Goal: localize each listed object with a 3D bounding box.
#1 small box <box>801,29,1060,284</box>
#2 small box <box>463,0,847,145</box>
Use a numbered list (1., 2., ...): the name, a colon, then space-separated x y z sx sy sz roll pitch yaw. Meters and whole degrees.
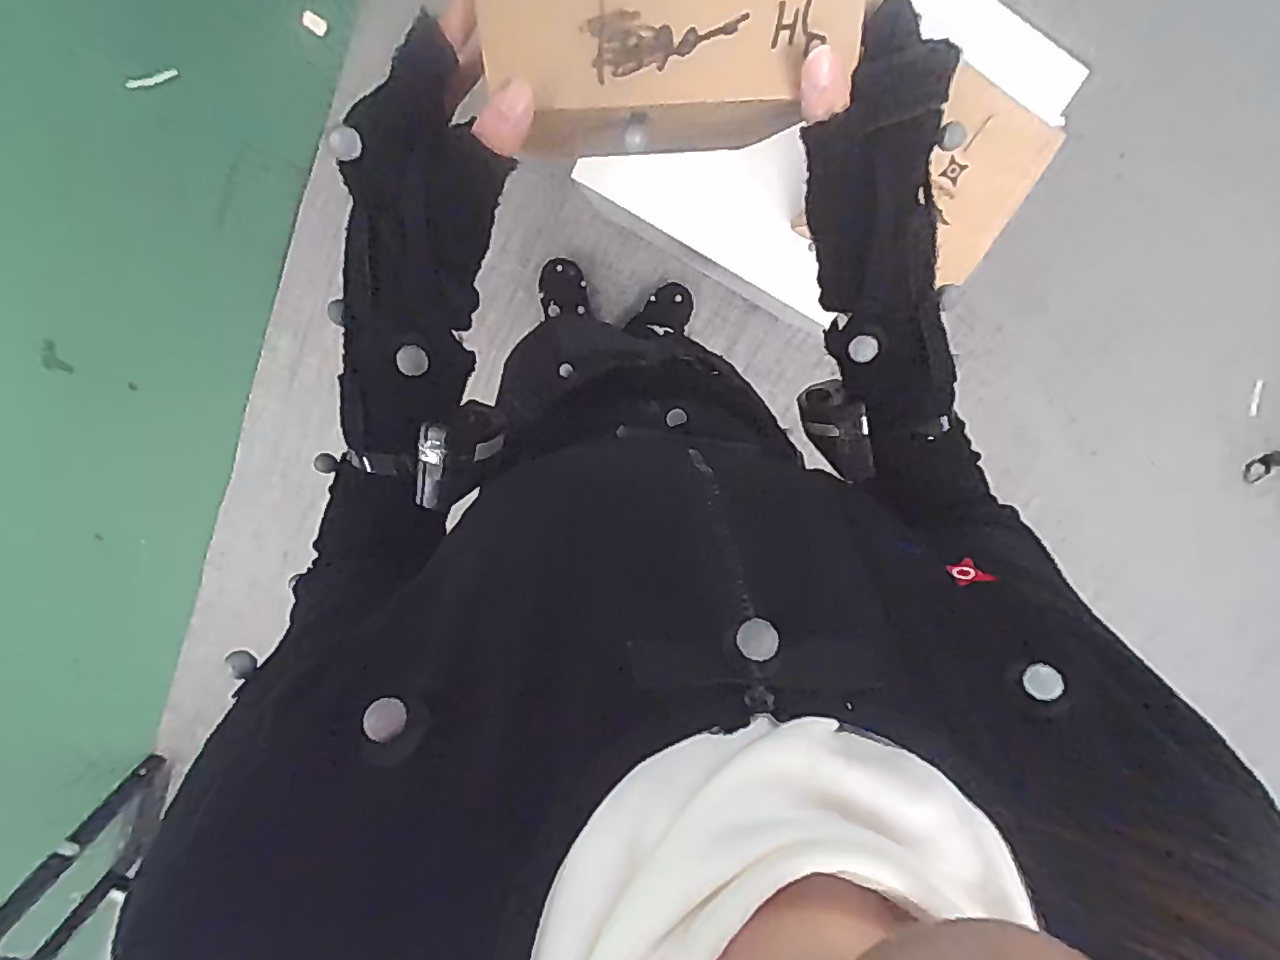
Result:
1. small box: 0.308 -0.348 0.624 0.168 0.176 0.179 27 108 -10
2. small box: -0.004 -0.289 0.275 0.168 0.176 0.179 -6 114 -4
